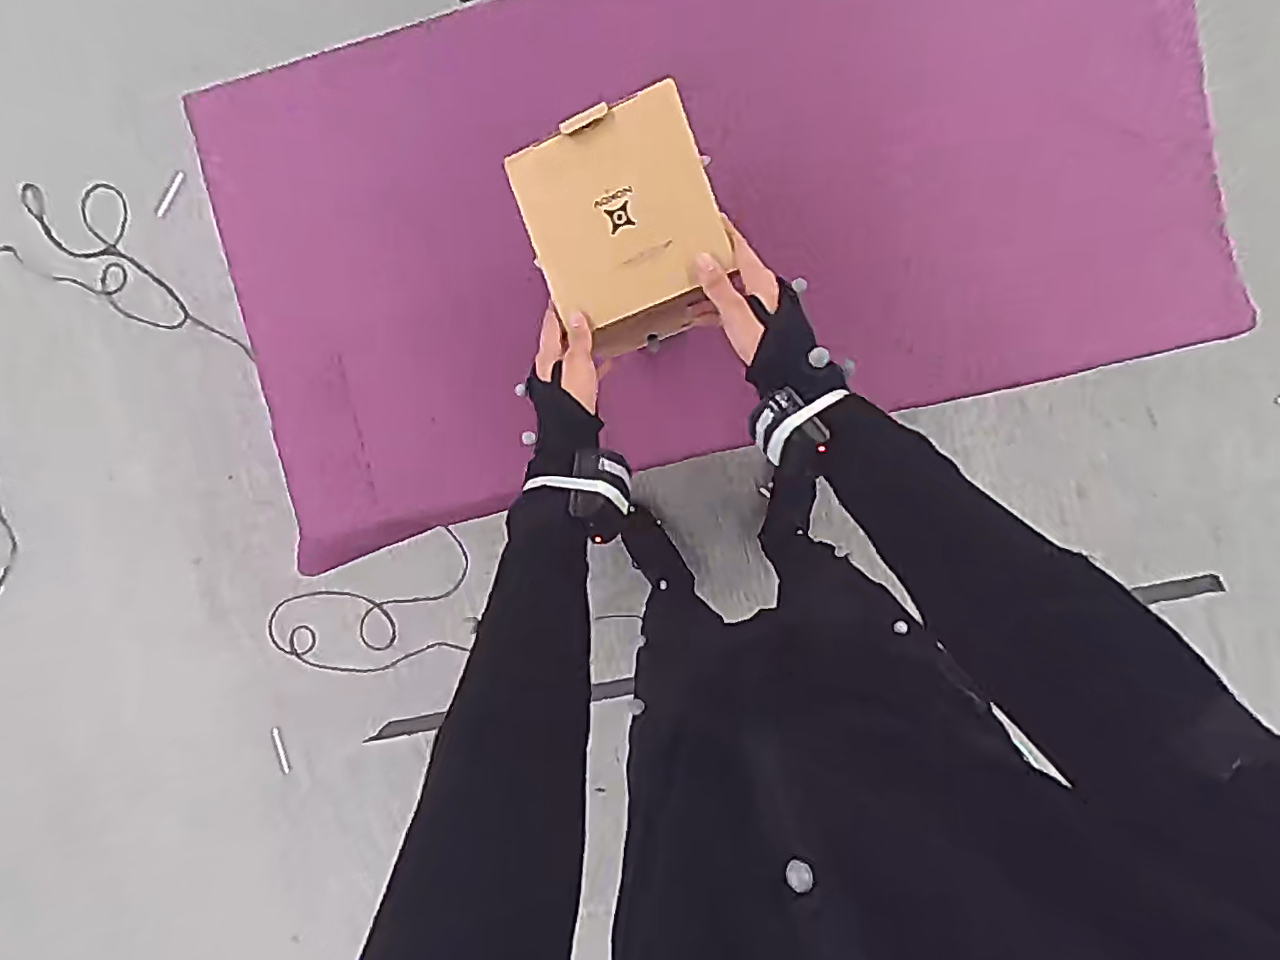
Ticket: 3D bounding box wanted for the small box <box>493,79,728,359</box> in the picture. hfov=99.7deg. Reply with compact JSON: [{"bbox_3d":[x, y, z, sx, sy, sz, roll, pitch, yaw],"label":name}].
[{"bbox_3d":[-0.018,-0.239,0.548,0.168,0.176,0.179,-19,93,10],"label":"small box"}]
